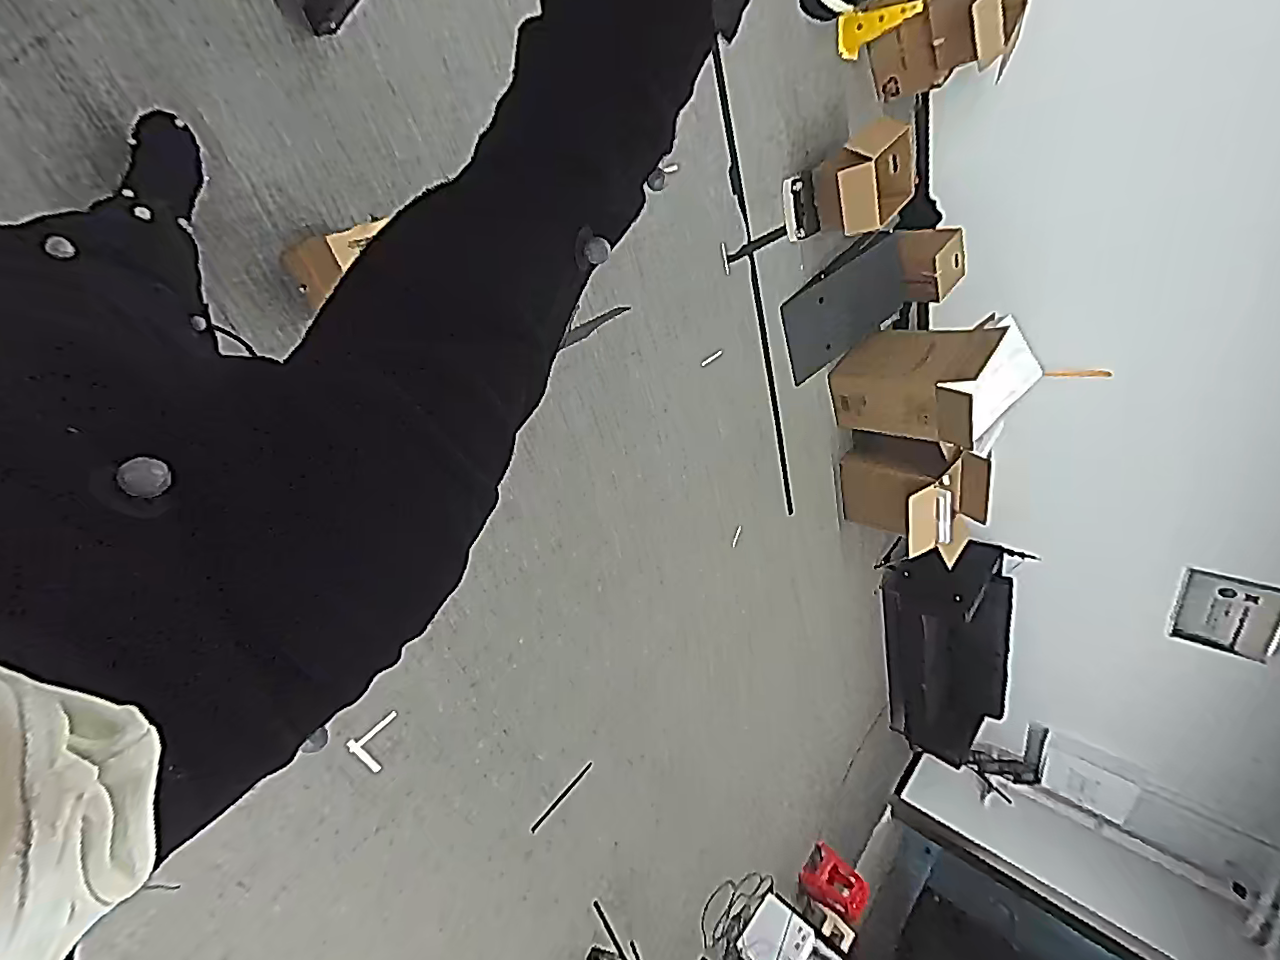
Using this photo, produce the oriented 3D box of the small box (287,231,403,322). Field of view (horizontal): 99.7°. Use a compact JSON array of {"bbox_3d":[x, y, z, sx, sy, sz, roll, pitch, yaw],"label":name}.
[{"bbox_3d":[-0.742,-0.510,1.359,0.179,0.176,0.168,-39,126,-29],"label":"small box"}]
